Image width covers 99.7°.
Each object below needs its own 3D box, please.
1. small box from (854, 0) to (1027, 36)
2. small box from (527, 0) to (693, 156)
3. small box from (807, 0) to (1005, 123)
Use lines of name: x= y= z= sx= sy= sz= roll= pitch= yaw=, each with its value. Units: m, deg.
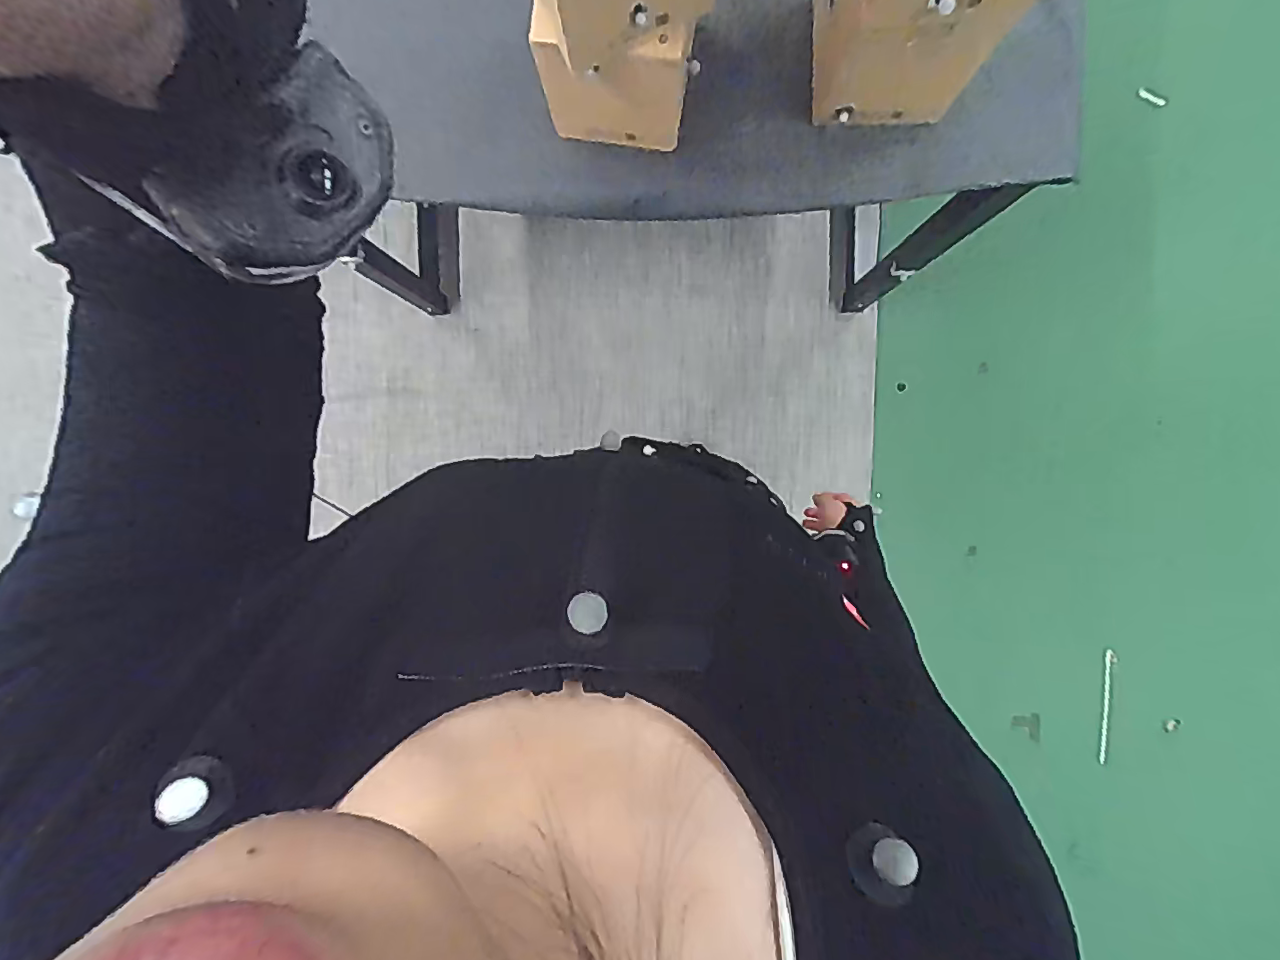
small box: x=0.295 y=-0.548 z=0.476 sx=0.168 sy=0.176 sz=0.179 roll=-4 pitch=91 yaw=3
small box: x=-0.026 y=-0.534 z=0.651 sx=0.168 sy=0.176 sz=0.179 roll=8 pitch=91 yaw=2
small box: x=0.302 y=-0.554 z=0.638 sx=0.168 sy=0.176 sz=0.179 roll=0 pitch=90 yaw=2
